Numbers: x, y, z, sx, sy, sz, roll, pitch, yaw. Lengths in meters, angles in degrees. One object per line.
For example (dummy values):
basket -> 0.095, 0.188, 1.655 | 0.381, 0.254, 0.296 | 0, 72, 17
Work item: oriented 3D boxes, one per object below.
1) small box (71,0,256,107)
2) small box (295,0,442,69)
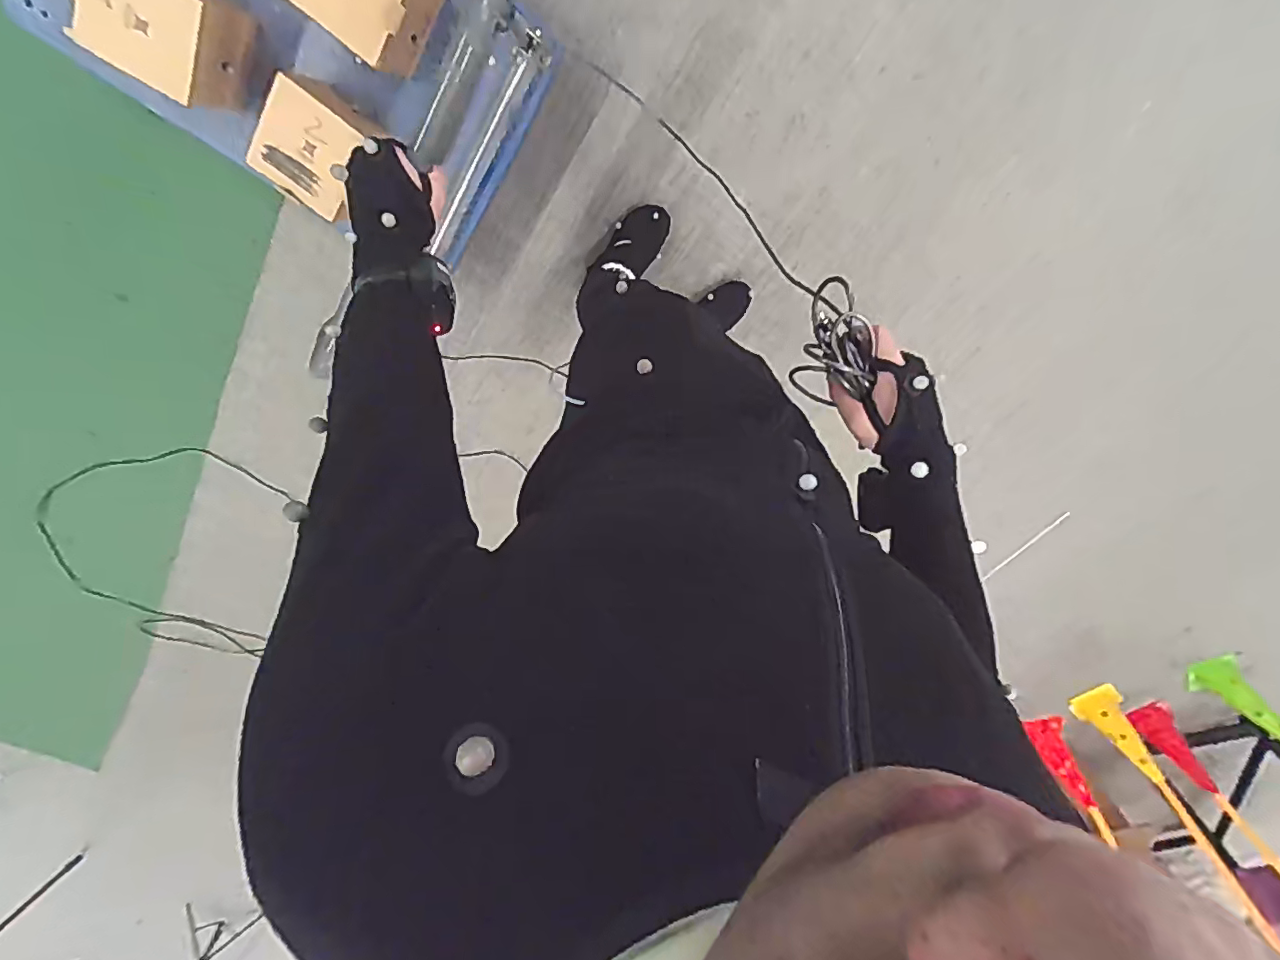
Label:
small box -> -0.815, -0.786, 0.940 | 0.179, 0.176, 0.168 | 27, 117, -18
small box -> -0.468, -0.841, 0.920 | 0.179, 0.176, 0.168 | 31, 116, -21
